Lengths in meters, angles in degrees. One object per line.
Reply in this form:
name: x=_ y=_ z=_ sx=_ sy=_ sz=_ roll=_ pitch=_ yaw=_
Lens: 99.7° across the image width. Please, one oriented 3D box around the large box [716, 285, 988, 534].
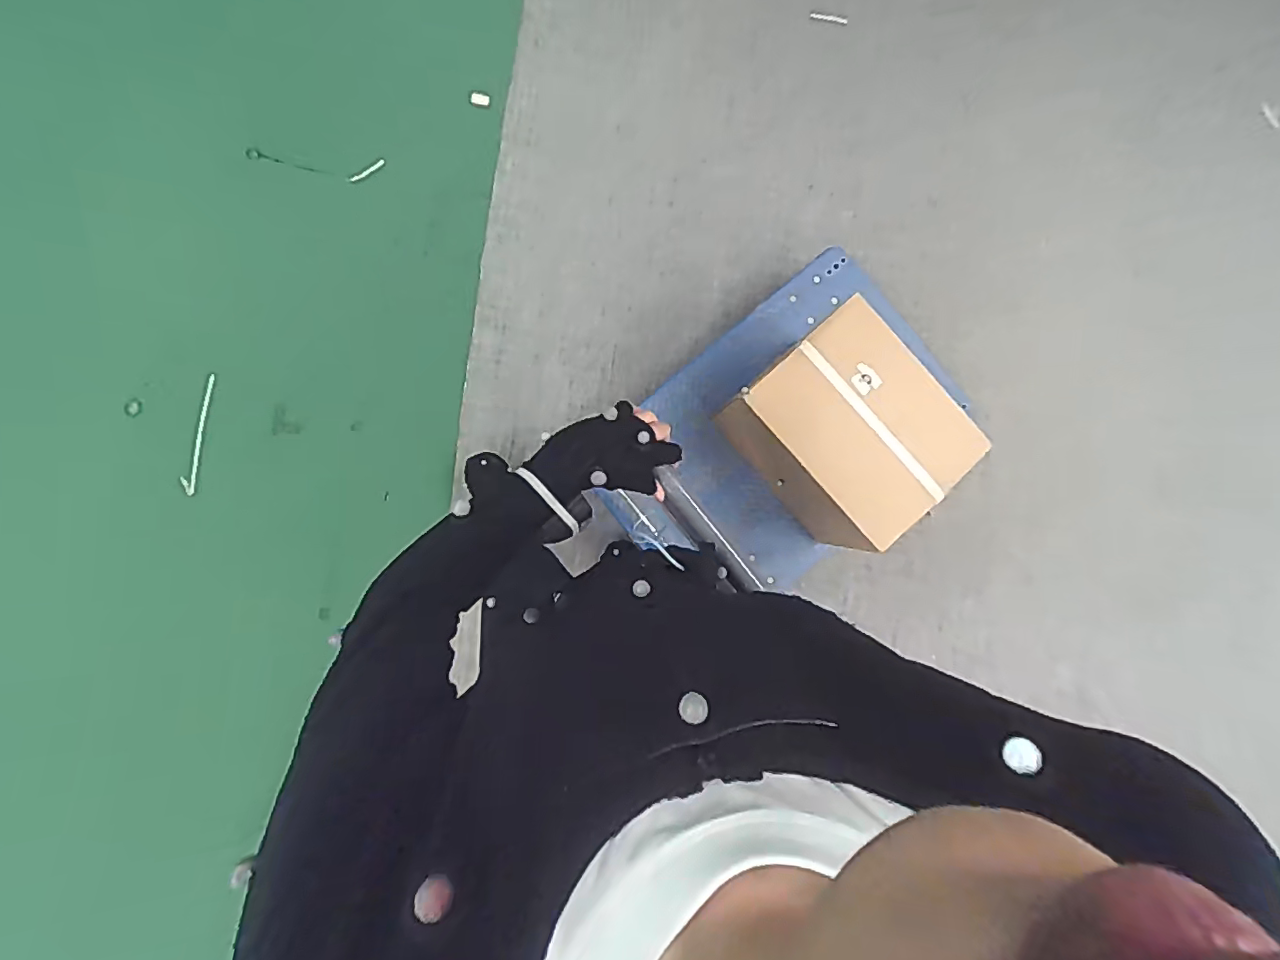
large box: x=0.432 y=-0.131 z=1.194 sx=0.320 sy=0.320 sz=0.408 roll=-42 pitch=90 yaw=-4
